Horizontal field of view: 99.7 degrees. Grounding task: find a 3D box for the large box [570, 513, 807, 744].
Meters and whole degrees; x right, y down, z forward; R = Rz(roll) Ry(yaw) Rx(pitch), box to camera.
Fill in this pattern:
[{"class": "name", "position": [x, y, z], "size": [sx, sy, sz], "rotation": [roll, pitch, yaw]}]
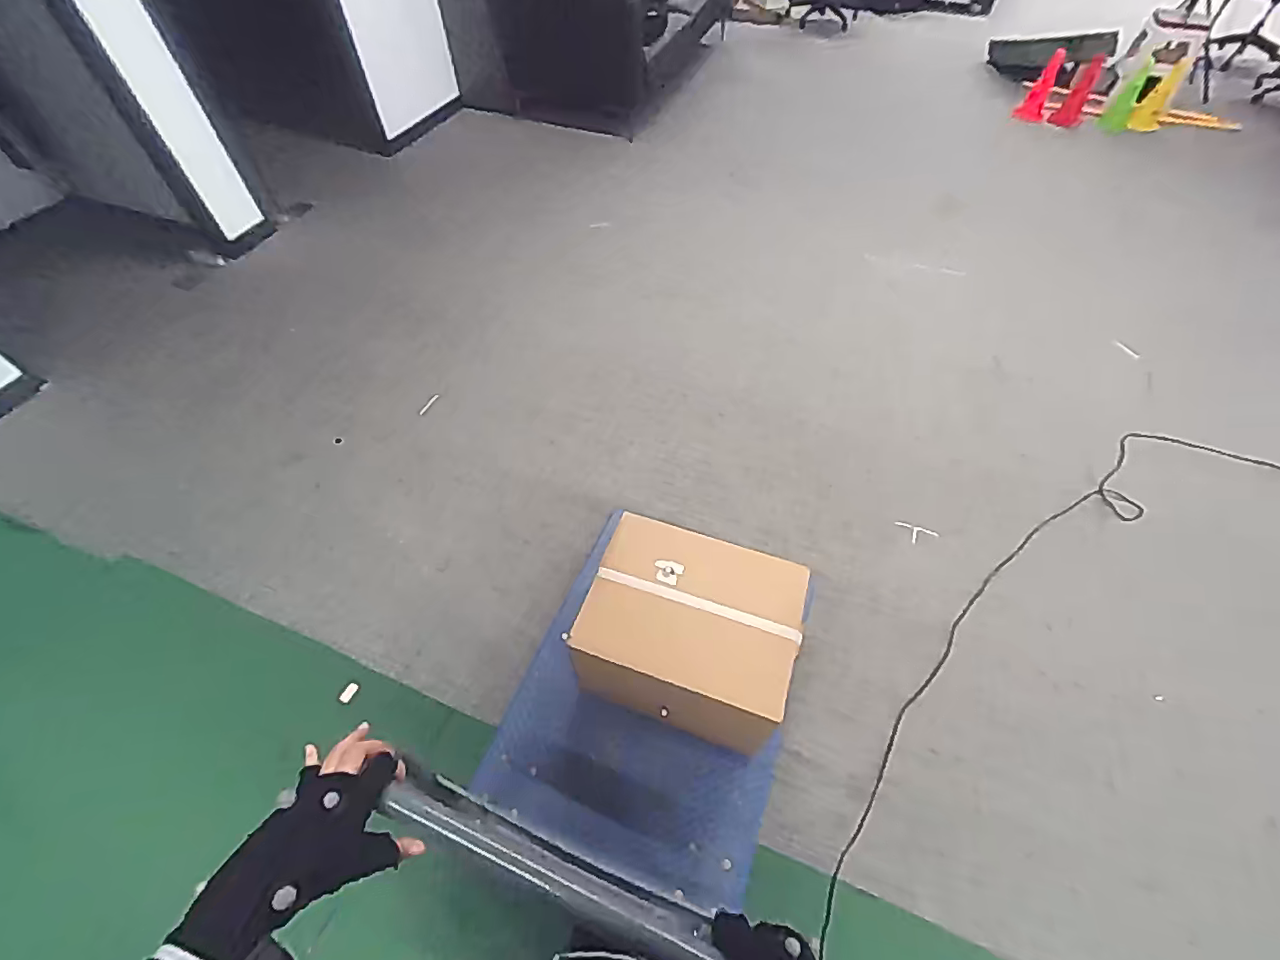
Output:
[{"class": "large box", "position": [0.109, 0.323, 1.166], "size": [0.408, 0.320, 0.320], "rotation": [15, 54, 12]}]
